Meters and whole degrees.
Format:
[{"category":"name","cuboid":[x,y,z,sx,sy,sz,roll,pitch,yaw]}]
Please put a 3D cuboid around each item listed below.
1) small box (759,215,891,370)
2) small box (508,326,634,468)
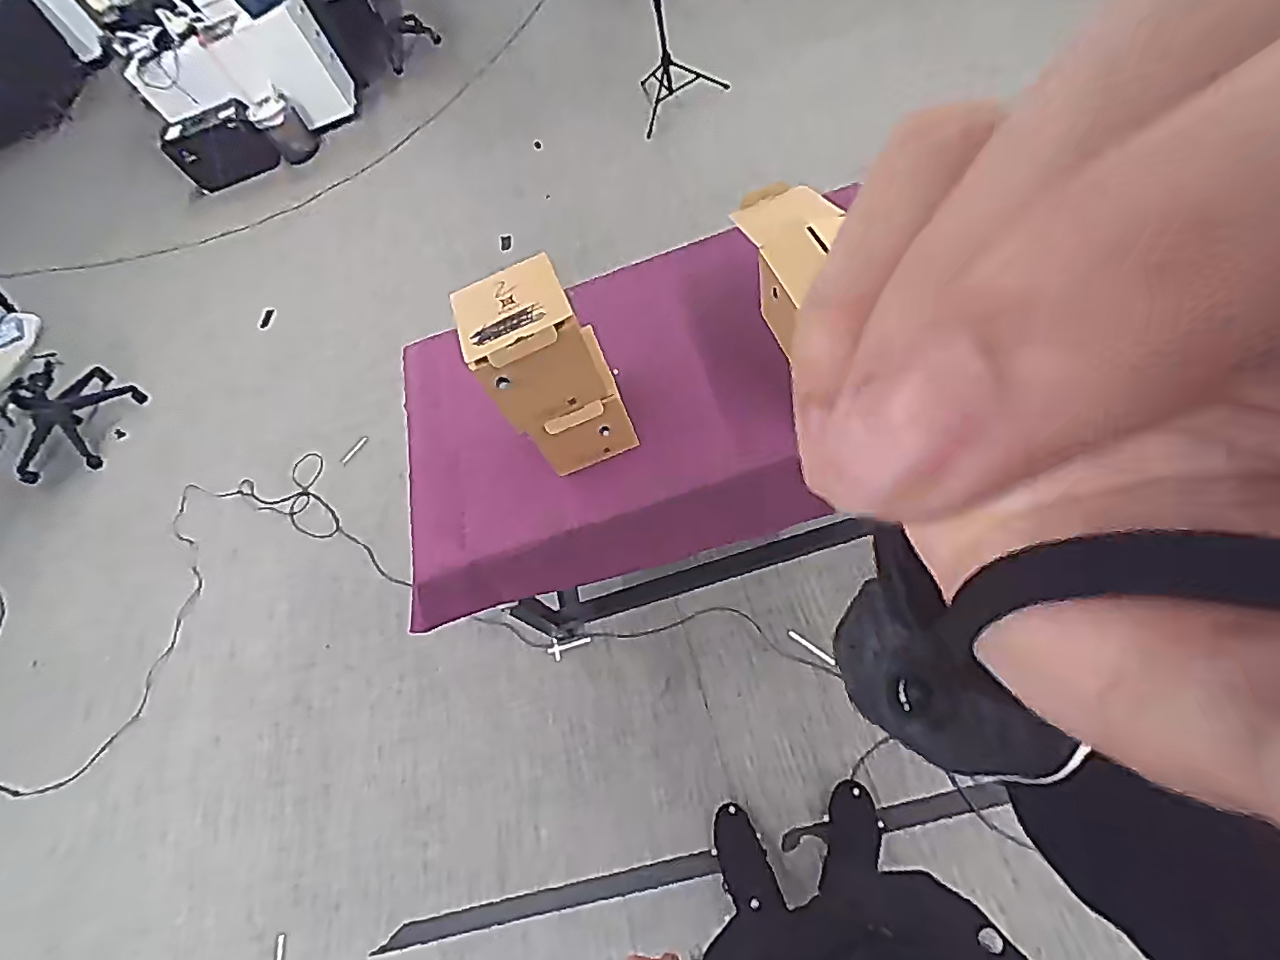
[{"category":"small box","cuboid":[0.325,-0.336,0.987,0.168,0.176,0.179,-21,60,4]},{"category":"small box","cuboid":[-0.123,-0.143,1.003,0.168,0.176,0.179,-21,60,2]}]
